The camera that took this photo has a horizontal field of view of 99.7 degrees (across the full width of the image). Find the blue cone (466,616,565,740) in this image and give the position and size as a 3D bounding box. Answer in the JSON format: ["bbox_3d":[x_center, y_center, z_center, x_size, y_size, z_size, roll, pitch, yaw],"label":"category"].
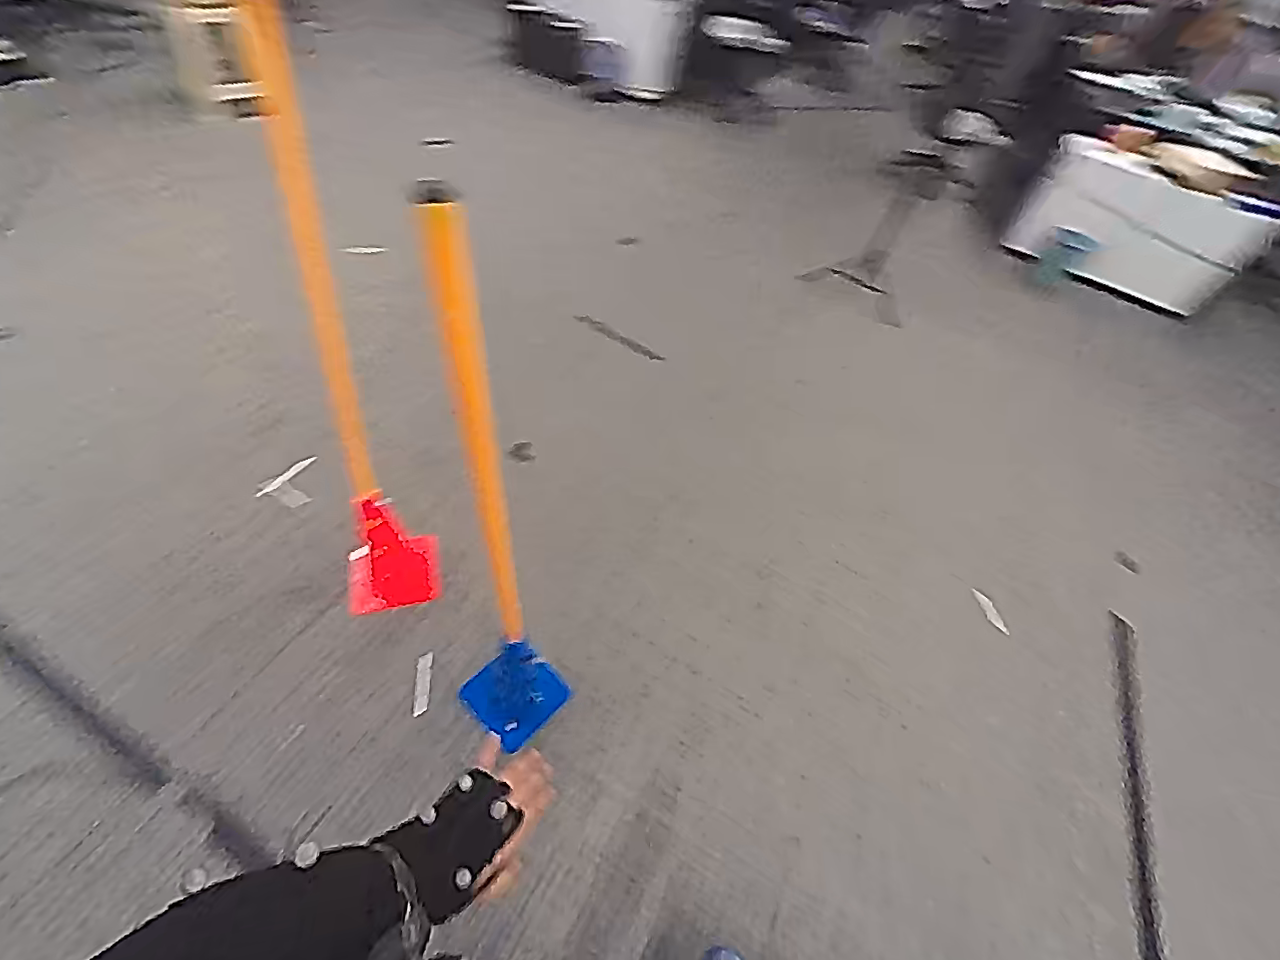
[{"bbox_3d":[-0.268,0.394,1.165,0.193,0.380,0.192,-34,65,-32],"label":"blue cone"}]

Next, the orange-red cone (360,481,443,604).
[{"bbox_3d":[-0.597,0.123,1.287,0.198,0.360,0.199,-6,55,-16],"label":"orange-red cone"}]
